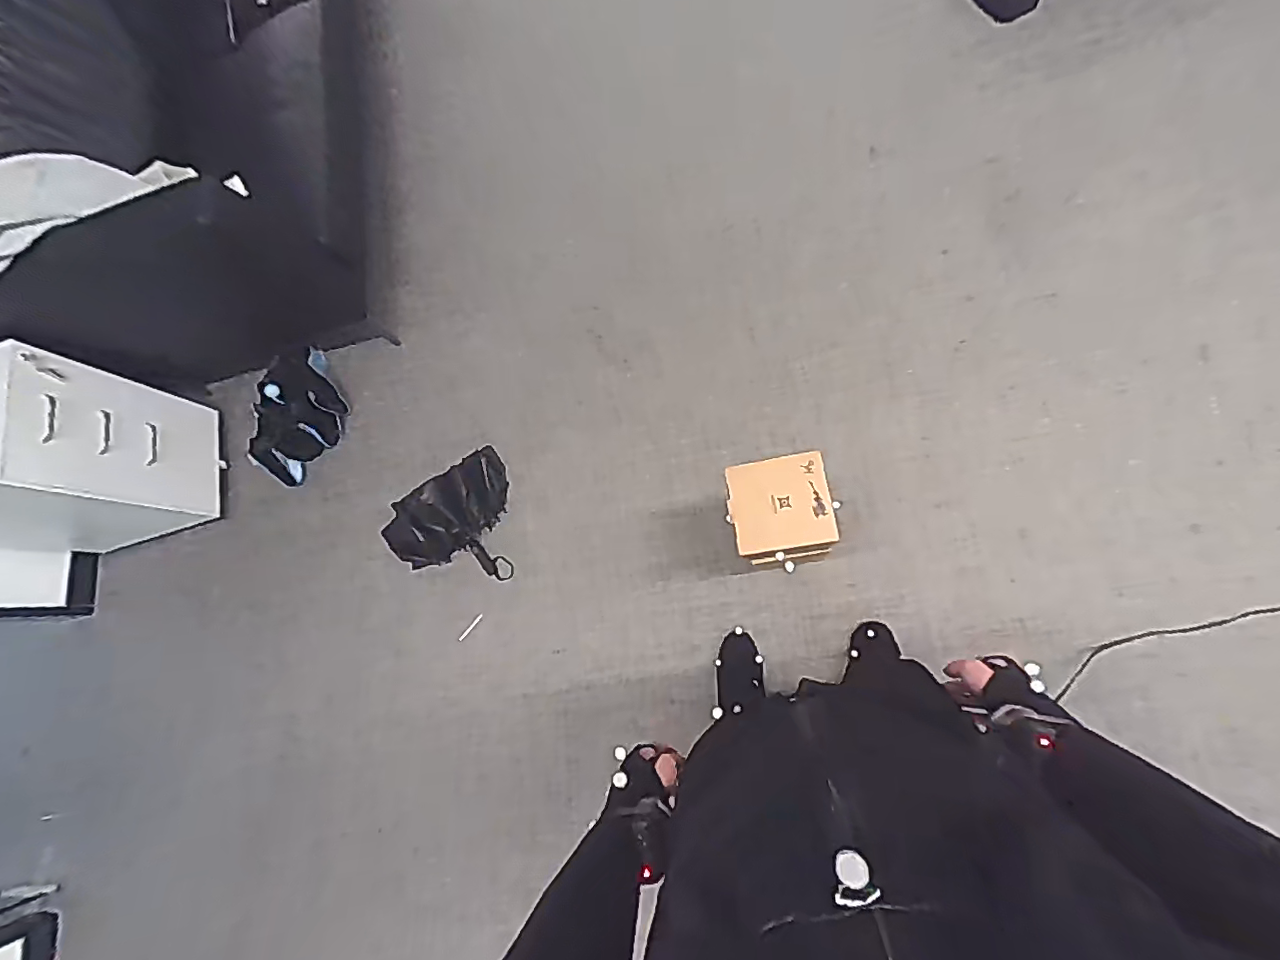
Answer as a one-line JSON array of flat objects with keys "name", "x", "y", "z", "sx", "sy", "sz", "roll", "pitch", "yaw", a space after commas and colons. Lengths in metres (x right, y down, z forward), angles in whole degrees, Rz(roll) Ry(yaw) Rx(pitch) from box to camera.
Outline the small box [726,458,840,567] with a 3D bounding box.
[{"name": "small box", "x": 0.273, "y": 0.071, "z": 1.036, "sx": 0.179, "sy": 0.176, "sz": 0.168, "roll": -11, "pitch": 75, "yaw": 13}]

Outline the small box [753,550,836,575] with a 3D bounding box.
[{"name": "small box", "x": 0.320, "y": 0.107, "z": 1.188, "sx": 0.168, "sy": 0.176, "sz": 0.179, "roll": -13, "pitch": 75, "yaw": 13}]
